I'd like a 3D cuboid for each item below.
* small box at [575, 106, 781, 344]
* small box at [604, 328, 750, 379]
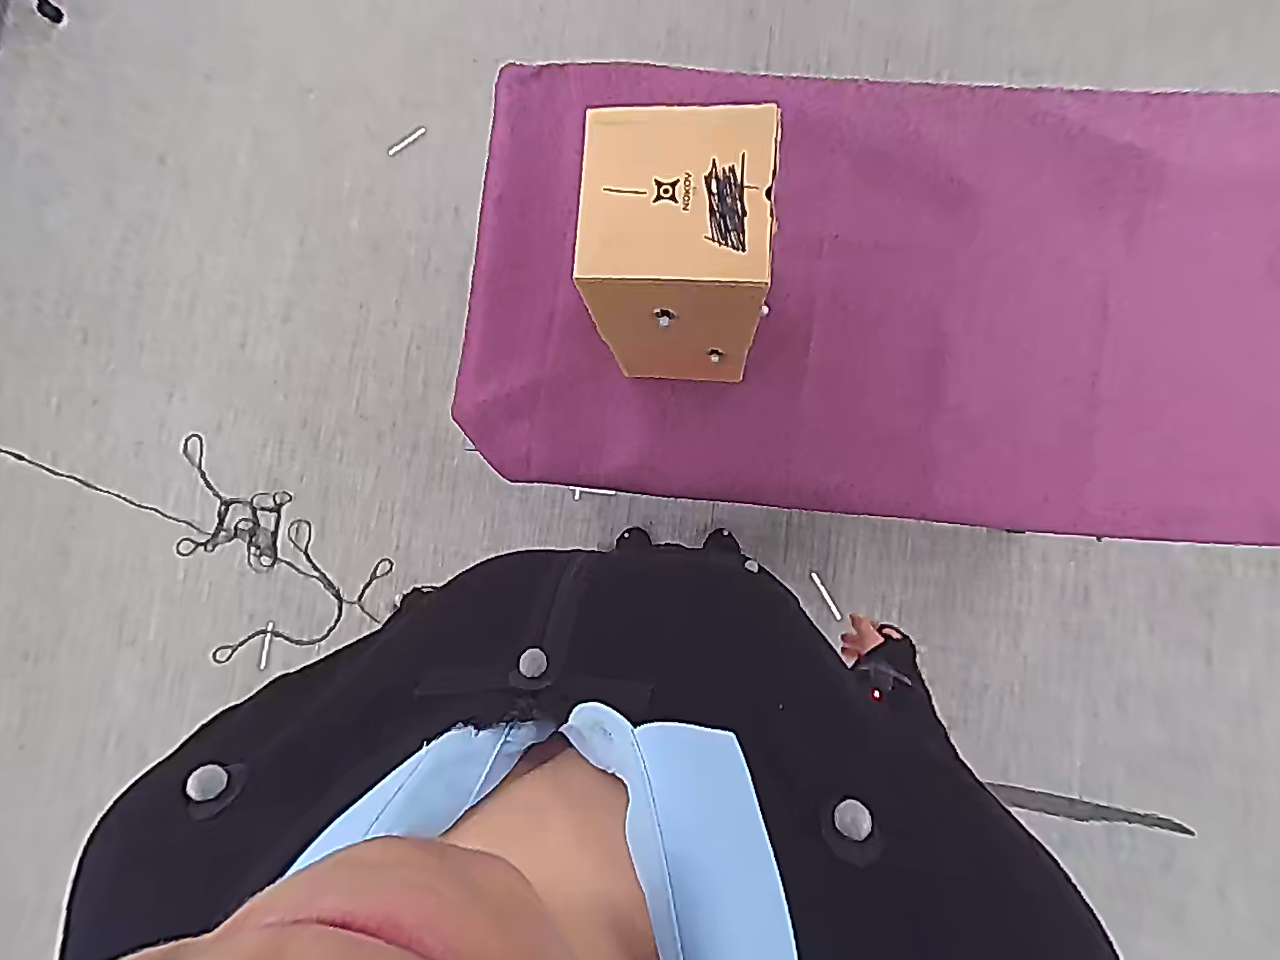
[{"bbox_3d":[0.041,-0.249,0.563,0.179,0.176,0.168,4,85,7],"label":"small box"},{"bbox_3d":[0.057,-0.239,0.726,0.179,0.176,0.168,4,85,6],"label":"small box"}]
